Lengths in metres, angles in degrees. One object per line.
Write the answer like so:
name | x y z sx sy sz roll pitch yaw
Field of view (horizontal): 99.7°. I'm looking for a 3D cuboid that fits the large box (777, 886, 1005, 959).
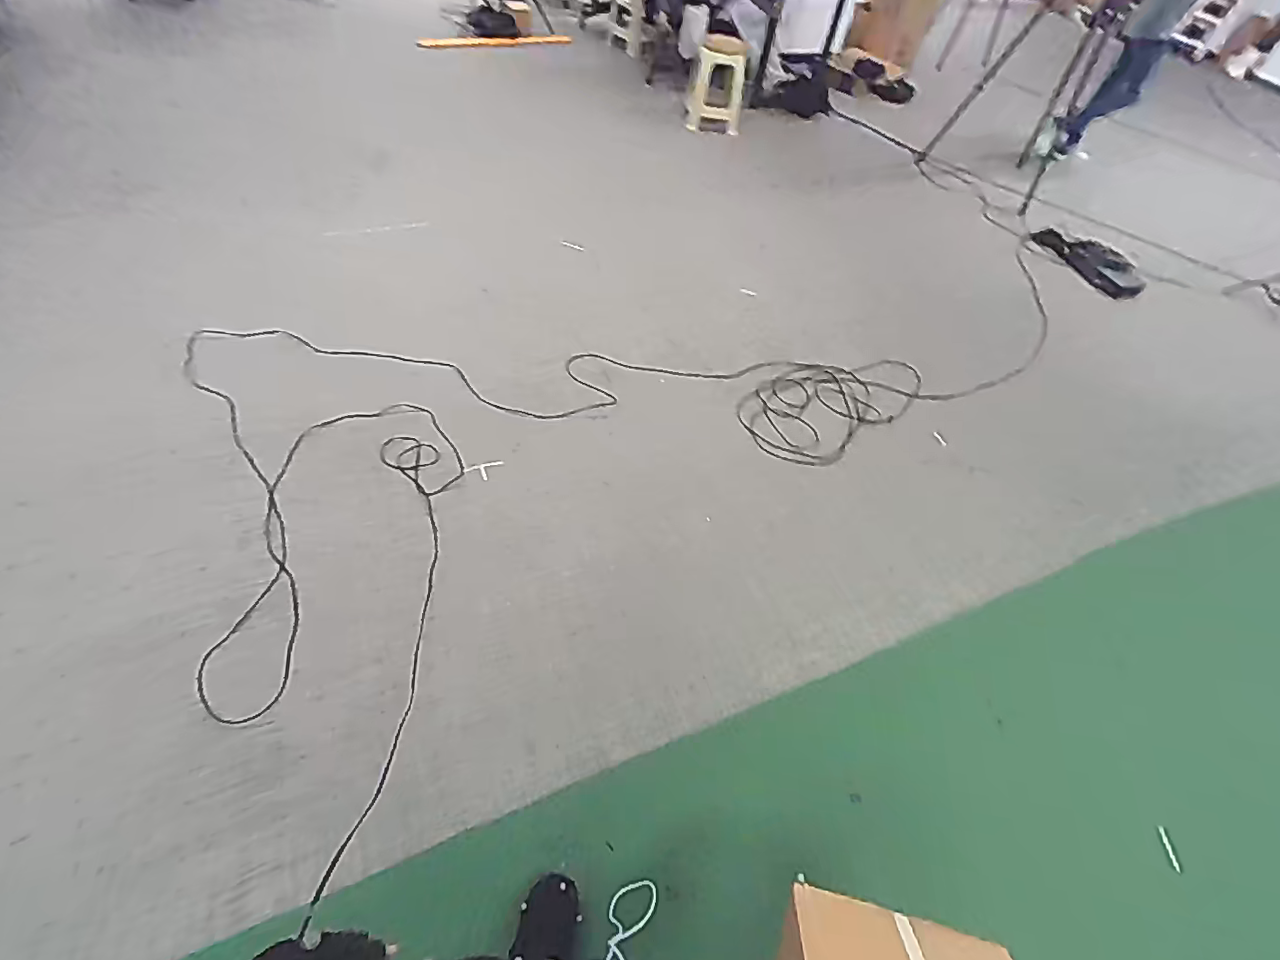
large box | 0.329 0.813 0.636 0.320 0.408 0.320 12 93 8
